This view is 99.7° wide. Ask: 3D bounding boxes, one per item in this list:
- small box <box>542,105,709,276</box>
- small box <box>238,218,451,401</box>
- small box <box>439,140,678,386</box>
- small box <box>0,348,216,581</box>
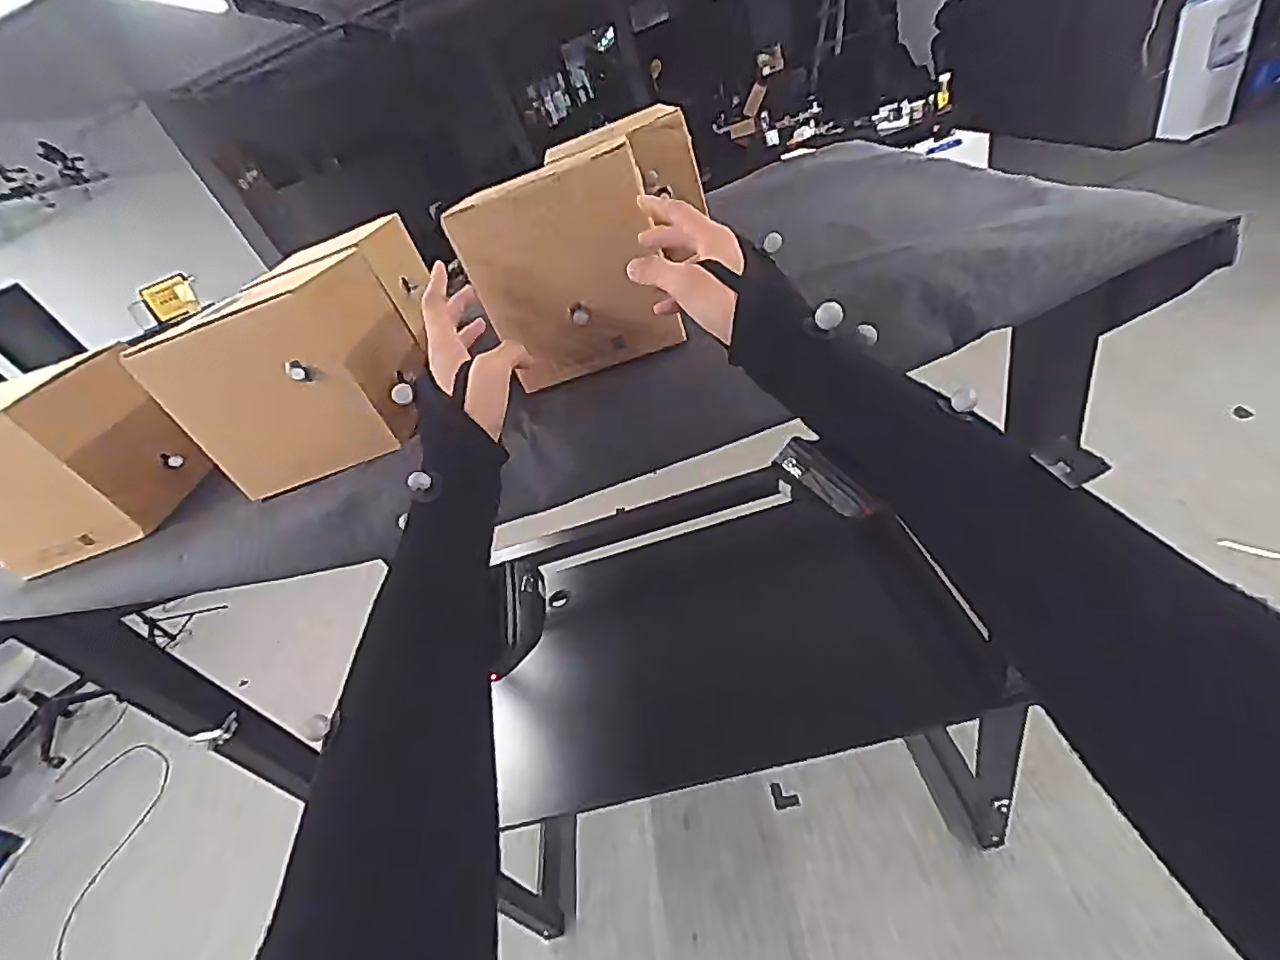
[{"bbox_3d":[-0.018,-0.363,0.711,0.168,0.176,0.179,-18,36,5],"label":"small box"},{"bbox_3d":[-0.396,-0.239,0.766,0.179,0.176,0.168,-18,37,8],"label":"small box"},{"bbox_3d":[-0.066,-0.217,0.543,0.168,0.176,0.179,-16,33,10],"label":"small box"},{"bbox_3d":[-0.639,-0.019,0.611,0.168,0.176,0.179,-20,35,6],"label":"small box"}]
